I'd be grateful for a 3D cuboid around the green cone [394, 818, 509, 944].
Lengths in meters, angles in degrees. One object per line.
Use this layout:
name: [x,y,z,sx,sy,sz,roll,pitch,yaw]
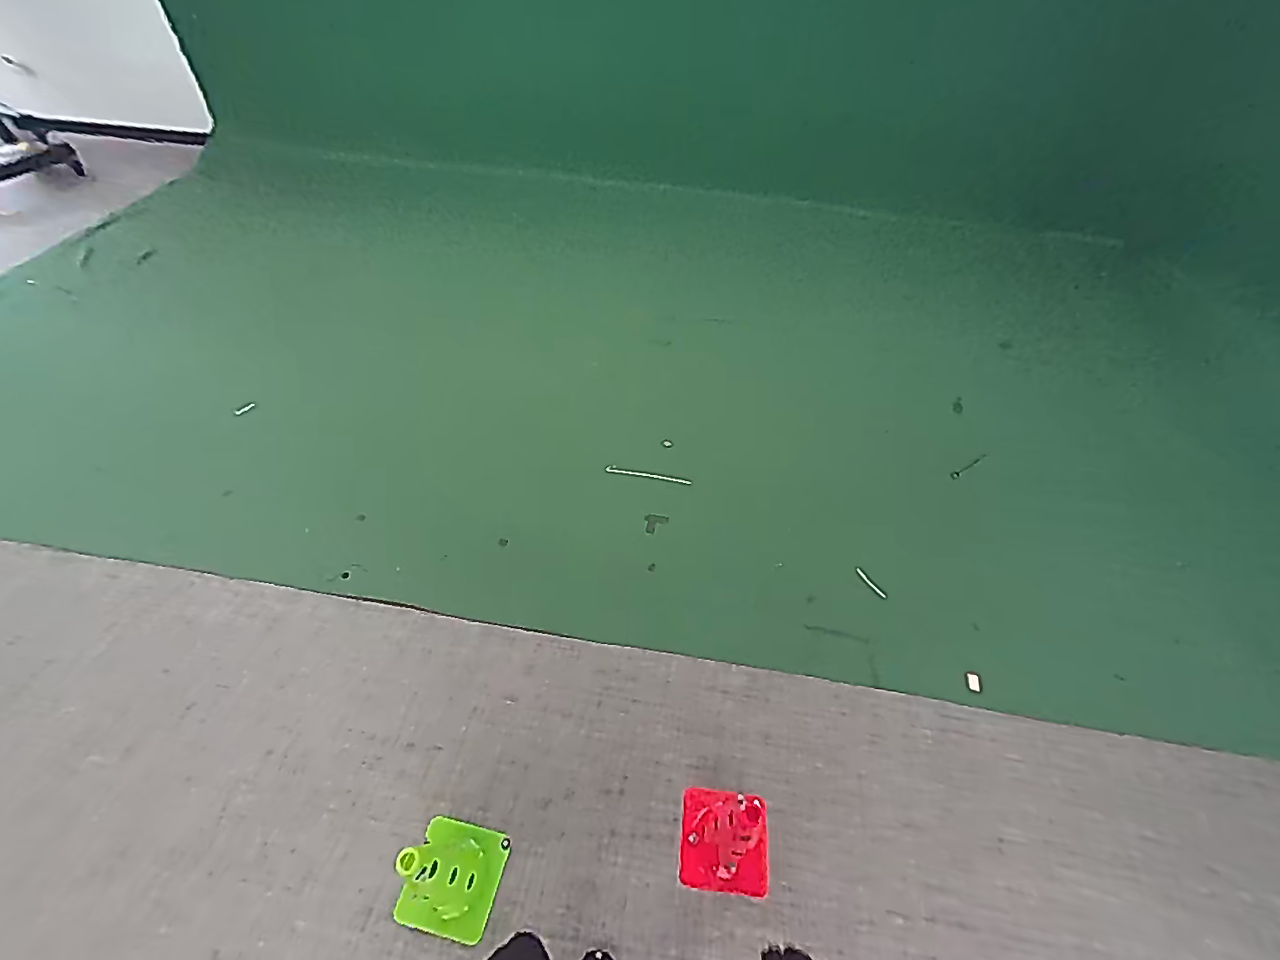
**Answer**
green cone: [-0.406,0.768,1.059,0.200,0.368,0.202,10,51,6]
